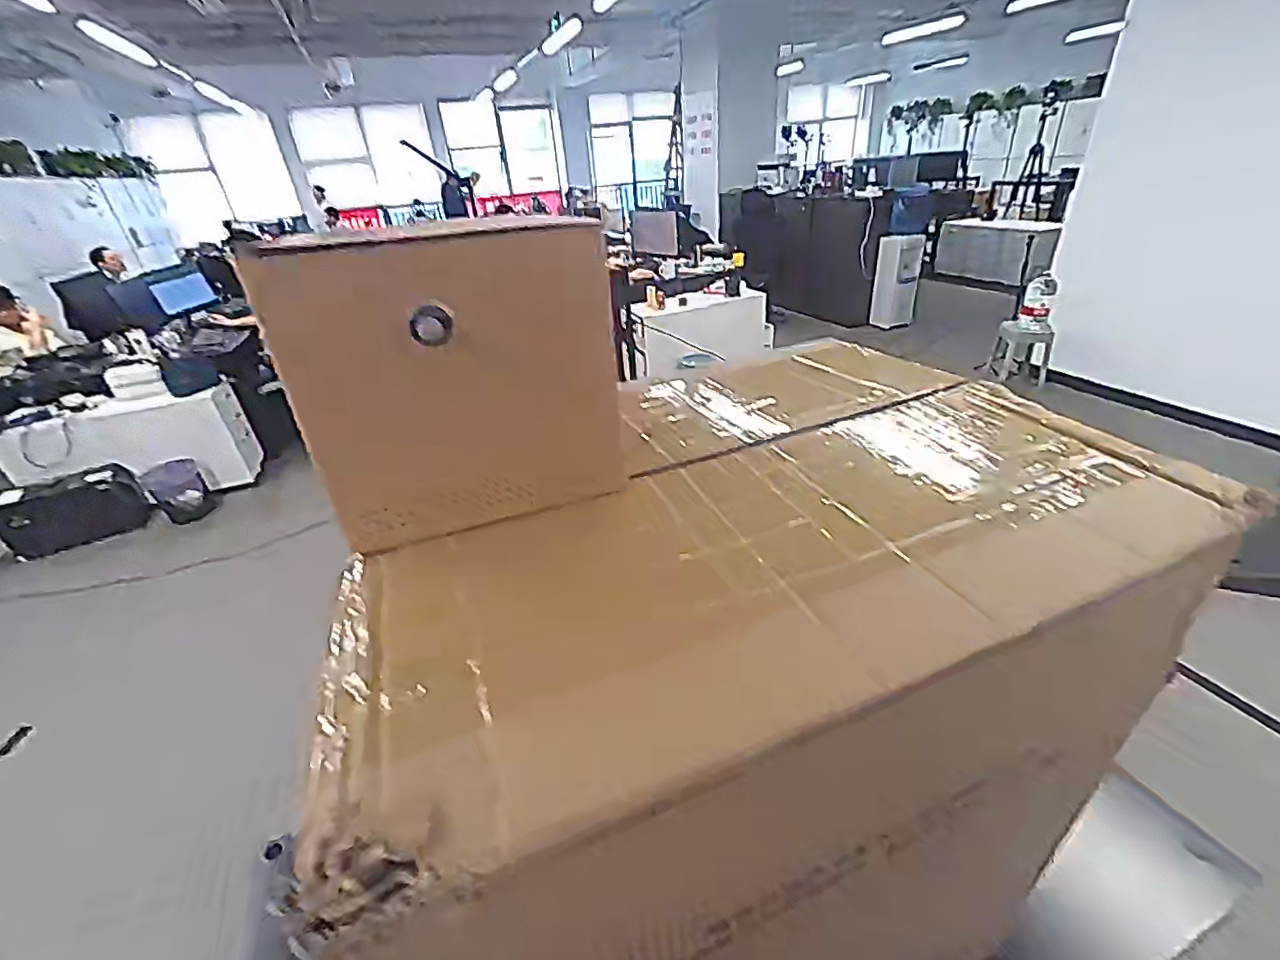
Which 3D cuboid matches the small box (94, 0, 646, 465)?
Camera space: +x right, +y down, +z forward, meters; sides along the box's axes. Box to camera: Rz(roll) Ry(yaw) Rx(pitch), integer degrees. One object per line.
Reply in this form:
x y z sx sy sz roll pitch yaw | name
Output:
-0.107 -0.123 0.289 0.179 0.176 0.168 -14 30 -17 | small box
